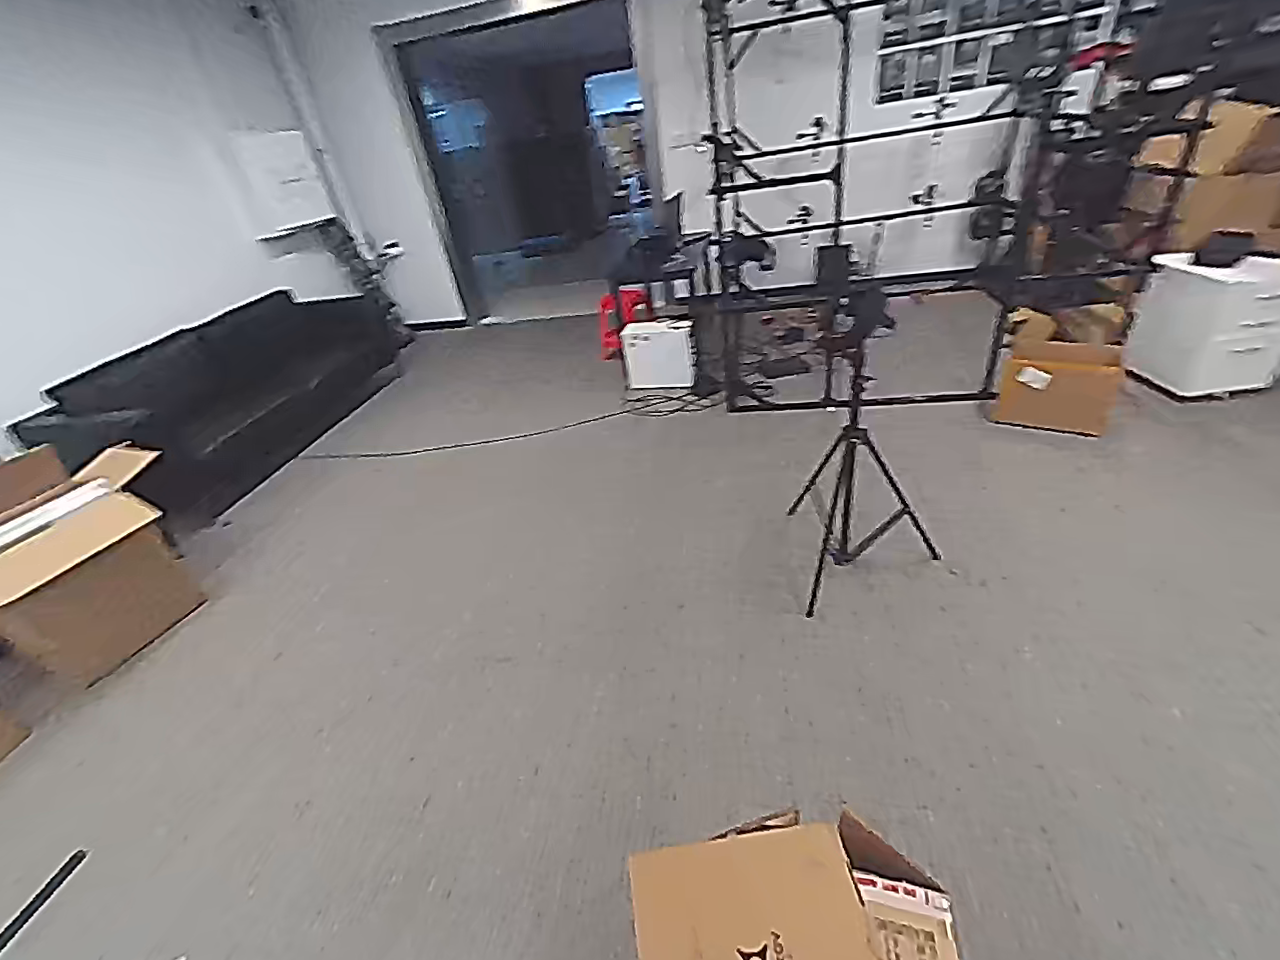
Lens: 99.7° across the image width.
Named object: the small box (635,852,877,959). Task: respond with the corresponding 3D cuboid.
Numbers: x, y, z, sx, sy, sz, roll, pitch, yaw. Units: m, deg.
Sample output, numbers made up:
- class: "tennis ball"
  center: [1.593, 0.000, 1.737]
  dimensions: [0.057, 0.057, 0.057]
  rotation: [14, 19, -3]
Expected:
- class: "small box"
  center: [0.097, 0.434, 0.435]
  dimensions: [0.179, 0.176, 0.168]
  rotation: [-9, 38, -4]
